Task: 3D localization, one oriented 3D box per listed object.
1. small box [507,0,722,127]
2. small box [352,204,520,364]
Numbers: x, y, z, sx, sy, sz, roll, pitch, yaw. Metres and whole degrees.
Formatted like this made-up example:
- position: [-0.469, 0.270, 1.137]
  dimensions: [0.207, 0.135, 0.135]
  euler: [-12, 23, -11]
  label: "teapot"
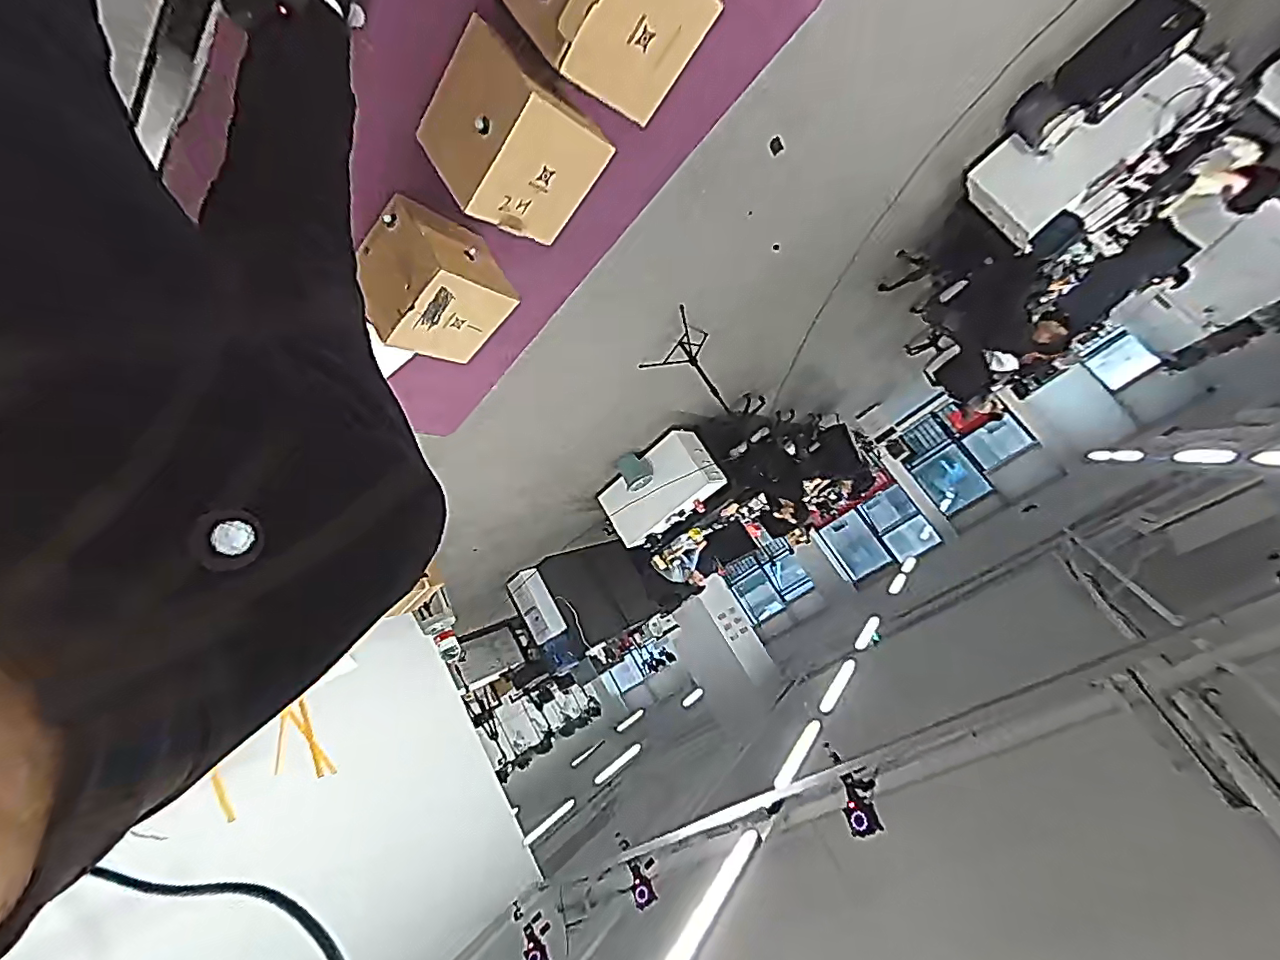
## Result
- position: [-0.039, -0.599, 0.674]
  dimensions: [0.168, 0.176, 0.179]
  euler: [-42, 162, 34]
  label: "small box"
- position: [-0.345, -0.325, 0.910]
  dimensions: [0.168, 0.176, 0.179]
  euler: [-39, 164, 23]
  label: "small box"
